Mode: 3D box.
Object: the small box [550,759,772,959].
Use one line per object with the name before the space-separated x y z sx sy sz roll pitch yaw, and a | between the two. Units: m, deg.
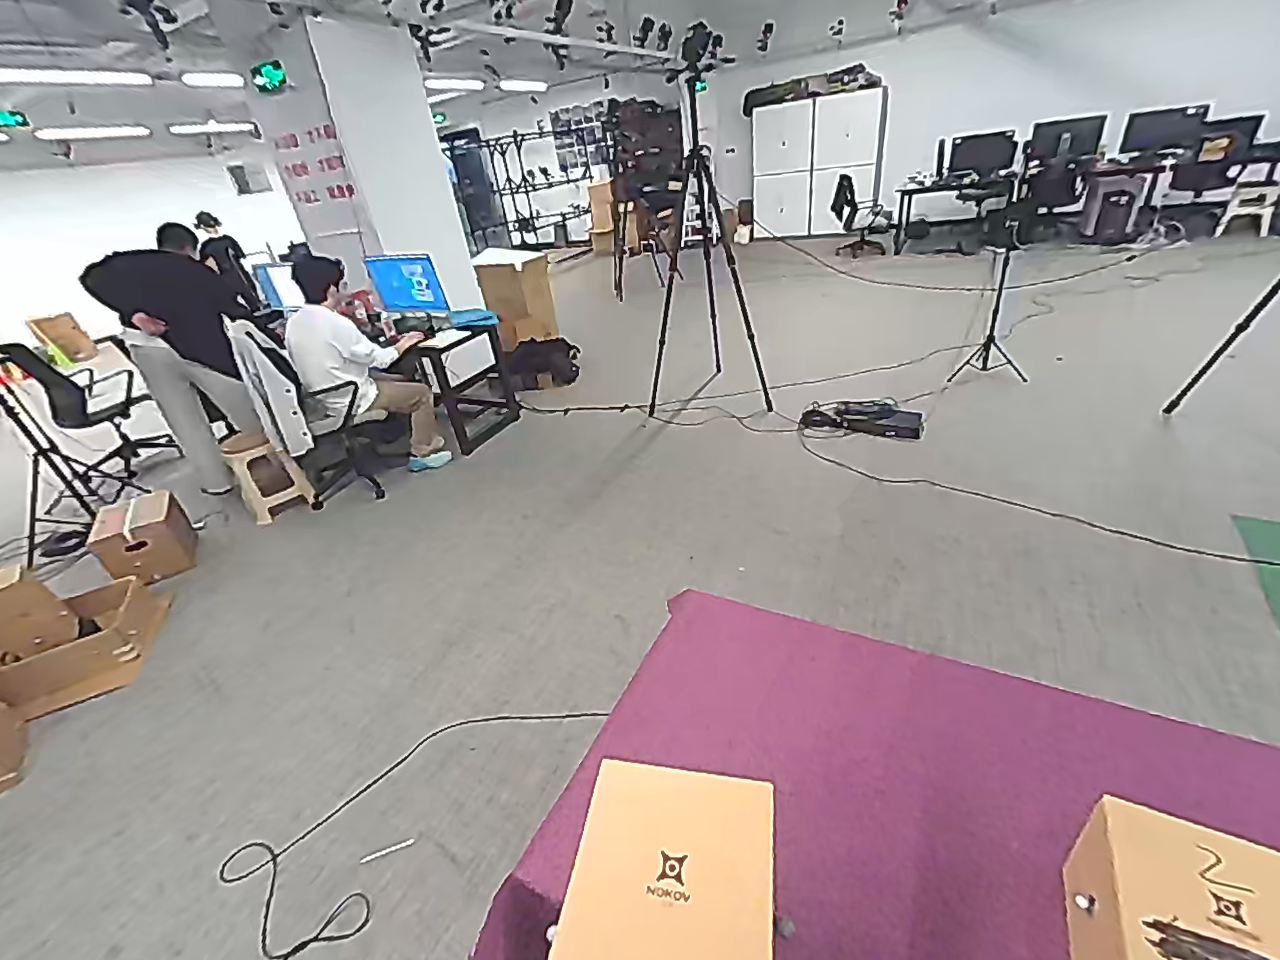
small box | 0.034 0.398 0.502 0.168 0.176 0.179 1 35 13
